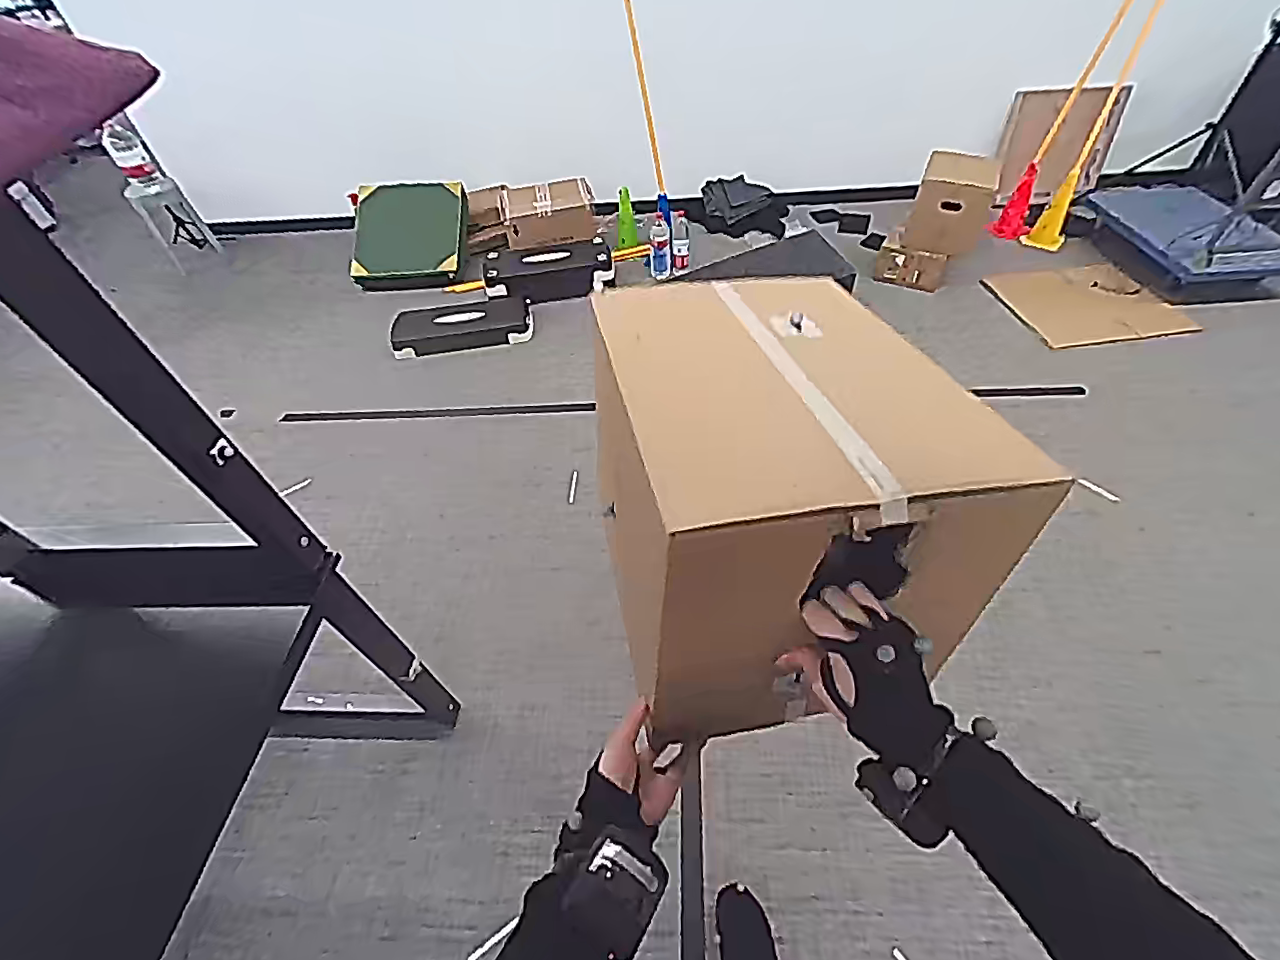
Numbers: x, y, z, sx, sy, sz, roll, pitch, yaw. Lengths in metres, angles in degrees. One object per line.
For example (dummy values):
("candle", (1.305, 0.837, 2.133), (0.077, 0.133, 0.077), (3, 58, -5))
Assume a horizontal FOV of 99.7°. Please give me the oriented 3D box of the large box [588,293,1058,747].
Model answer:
("large box", (0.125, 0.014, 0.617), (0.320, 0.320, 0.408), (-6, 39, -9))
